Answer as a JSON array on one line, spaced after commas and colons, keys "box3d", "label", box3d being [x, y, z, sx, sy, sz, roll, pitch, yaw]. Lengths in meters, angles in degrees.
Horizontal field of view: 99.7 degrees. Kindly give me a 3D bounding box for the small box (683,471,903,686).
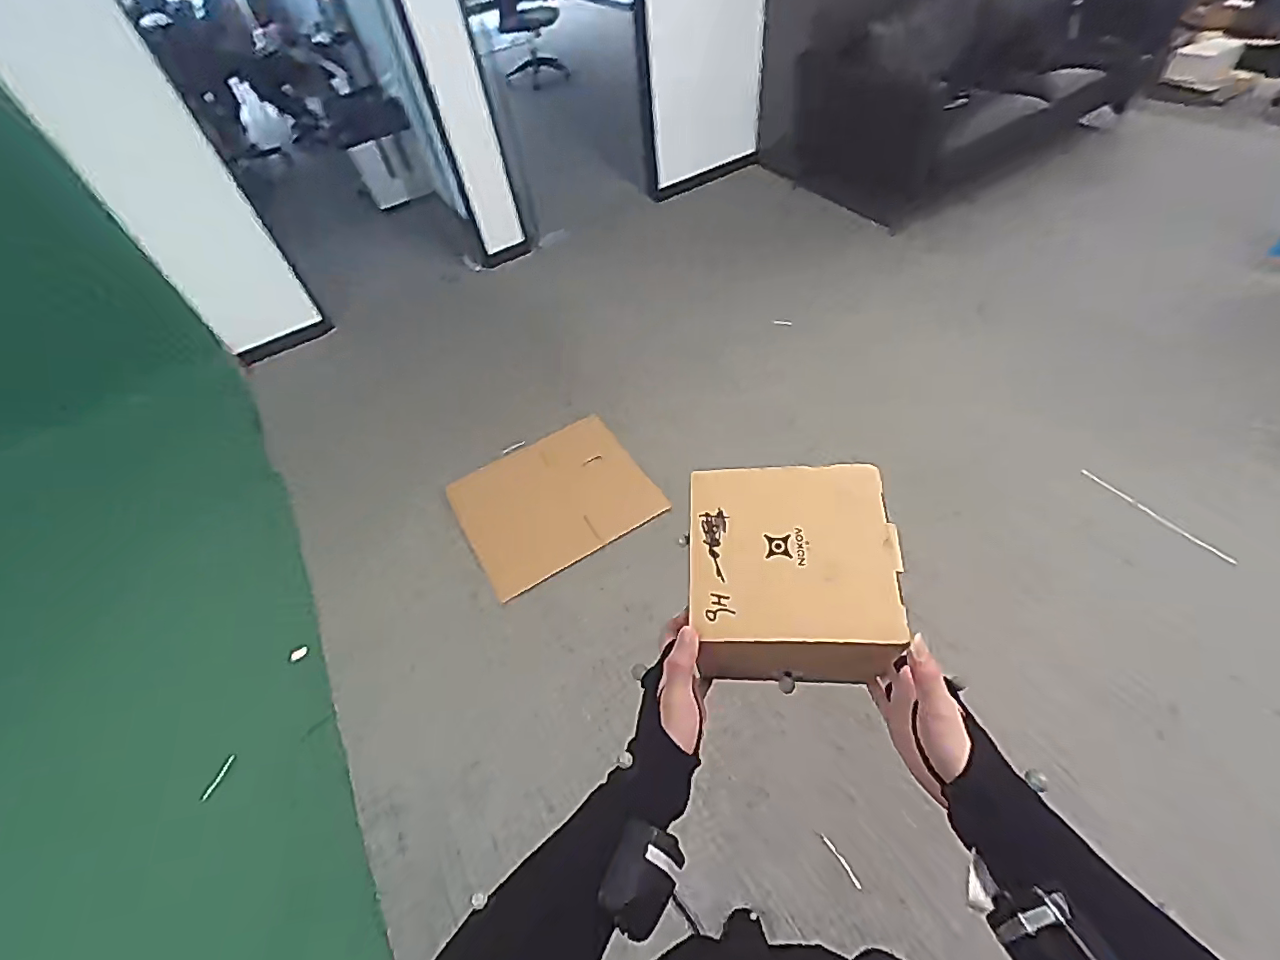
[{"box3d": [0.135, 0.104, 0.542, 0.179, 0.176, 0.168, -2, 58, 8], "label": "small box"}]
